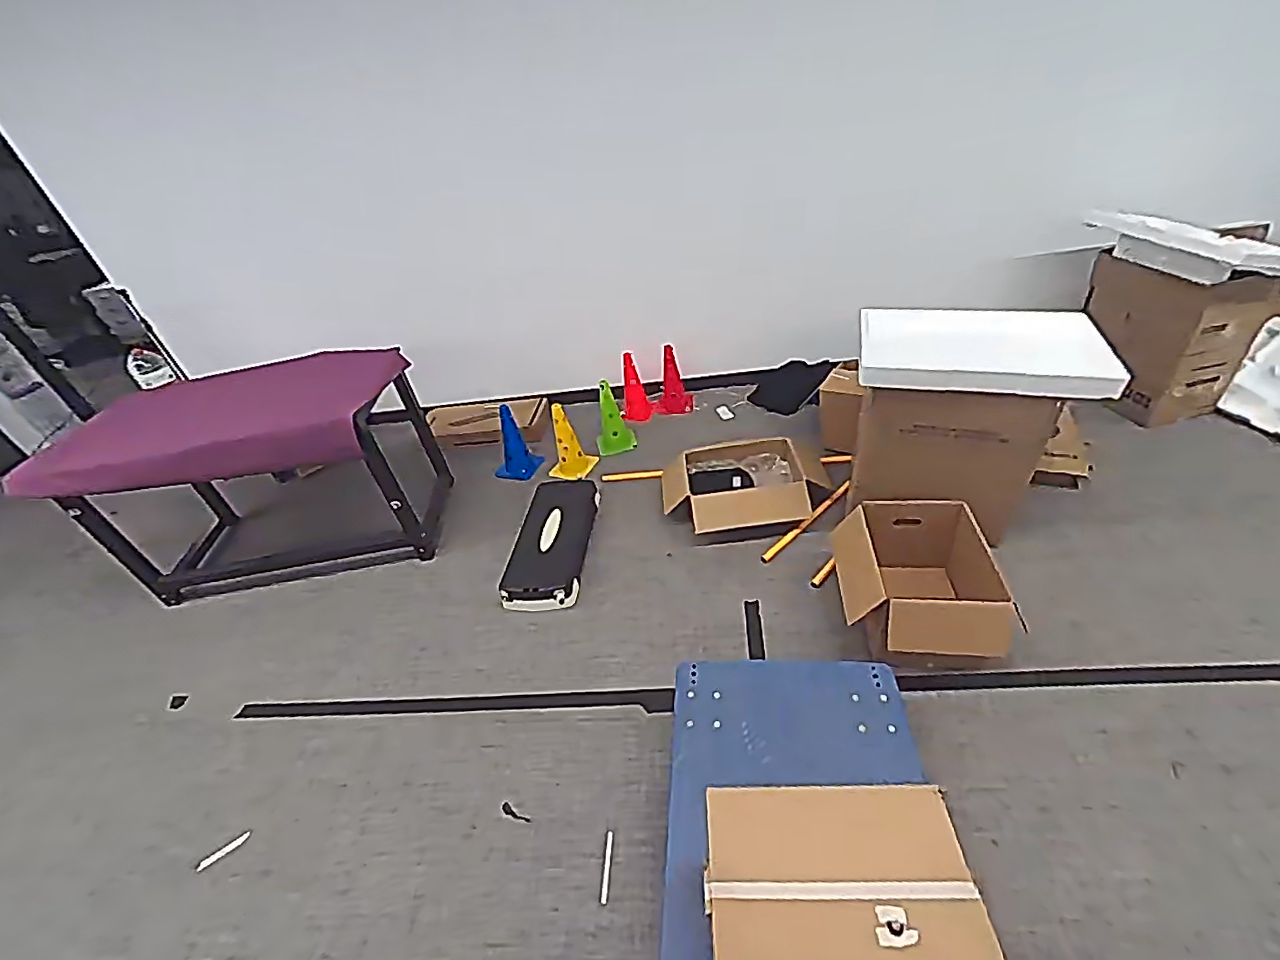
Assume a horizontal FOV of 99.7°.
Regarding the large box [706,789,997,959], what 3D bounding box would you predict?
[{"bbox_3d":[0.331,0.770,0.937,0.408,0.320,0.320,-4,37,6],"label":"large box"}]
